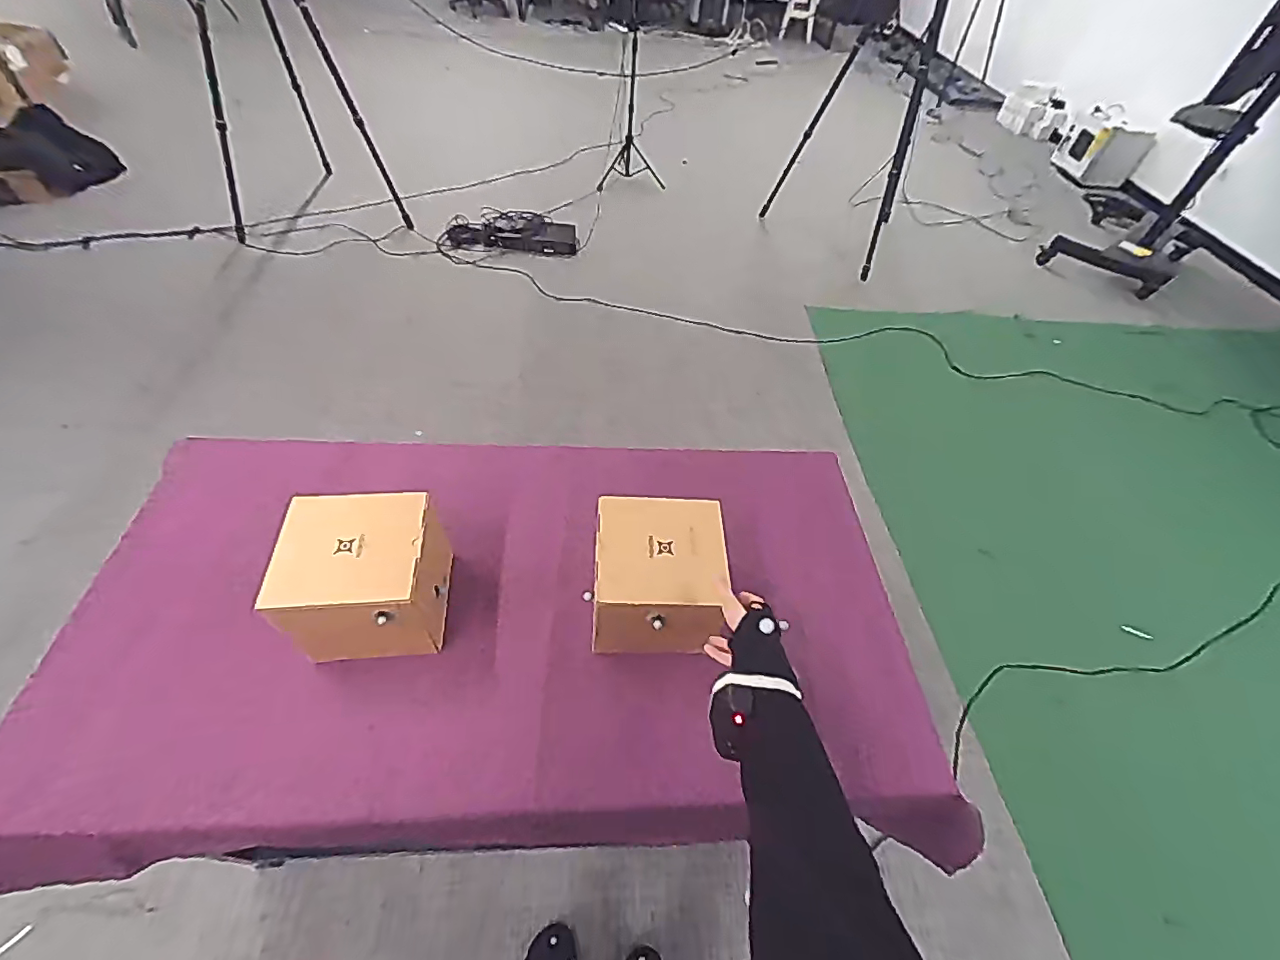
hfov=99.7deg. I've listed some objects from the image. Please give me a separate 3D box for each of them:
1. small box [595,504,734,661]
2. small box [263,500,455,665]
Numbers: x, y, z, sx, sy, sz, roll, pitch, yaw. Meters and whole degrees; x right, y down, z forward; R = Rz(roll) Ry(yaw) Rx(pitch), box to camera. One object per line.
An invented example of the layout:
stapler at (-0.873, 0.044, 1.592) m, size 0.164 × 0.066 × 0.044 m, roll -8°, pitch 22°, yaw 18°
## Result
small box at (0.026, 0.152, 0.782) m, size 0.179 × 0.176 × 0.168 m, roll 3°, pitch 51°, yaw -4°
small box at (-0.368, 0.144, 0.749) m, size 0.179 × 0.176 × 0.168 m, roll -1°, pitch 50°, yaw -9°
